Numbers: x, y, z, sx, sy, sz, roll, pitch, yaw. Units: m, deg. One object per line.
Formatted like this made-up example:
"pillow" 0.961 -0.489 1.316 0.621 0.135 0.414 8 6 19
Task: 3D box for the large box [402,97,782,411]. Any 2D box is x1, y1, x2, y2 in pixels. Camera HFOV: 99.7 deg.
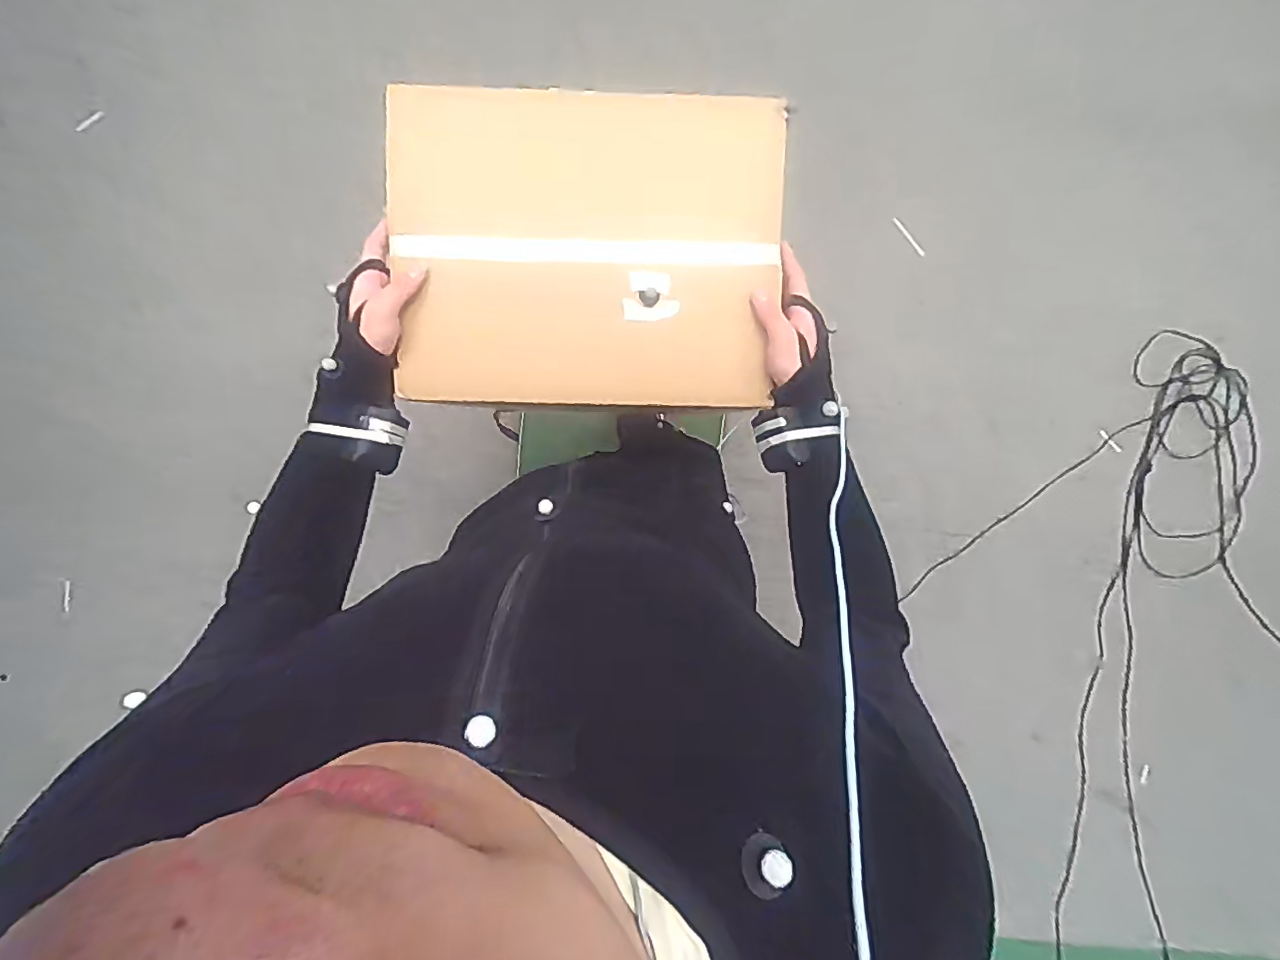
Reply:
"large box" -0.056 -0.254 0.724 0.408 0.320 0.320 1 96 -2
